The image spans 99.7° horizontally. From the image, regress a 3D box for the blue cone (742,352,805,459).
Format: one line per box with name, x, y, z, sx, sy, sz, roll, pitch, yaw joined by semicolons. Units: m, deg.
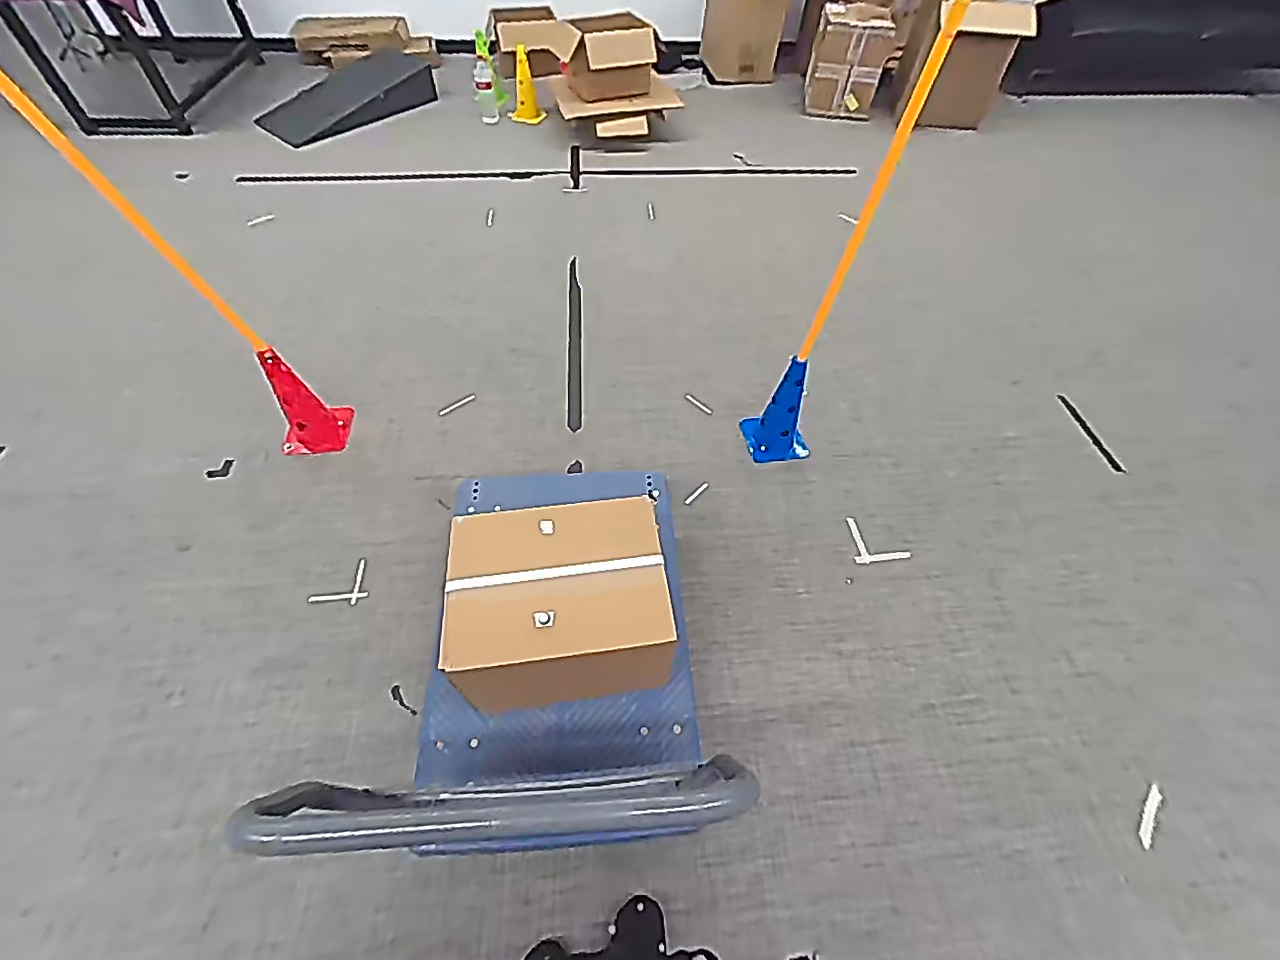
blue cone;0.467;-0.247;1.739;0.193;0.380;0.192;-6;53;-7
